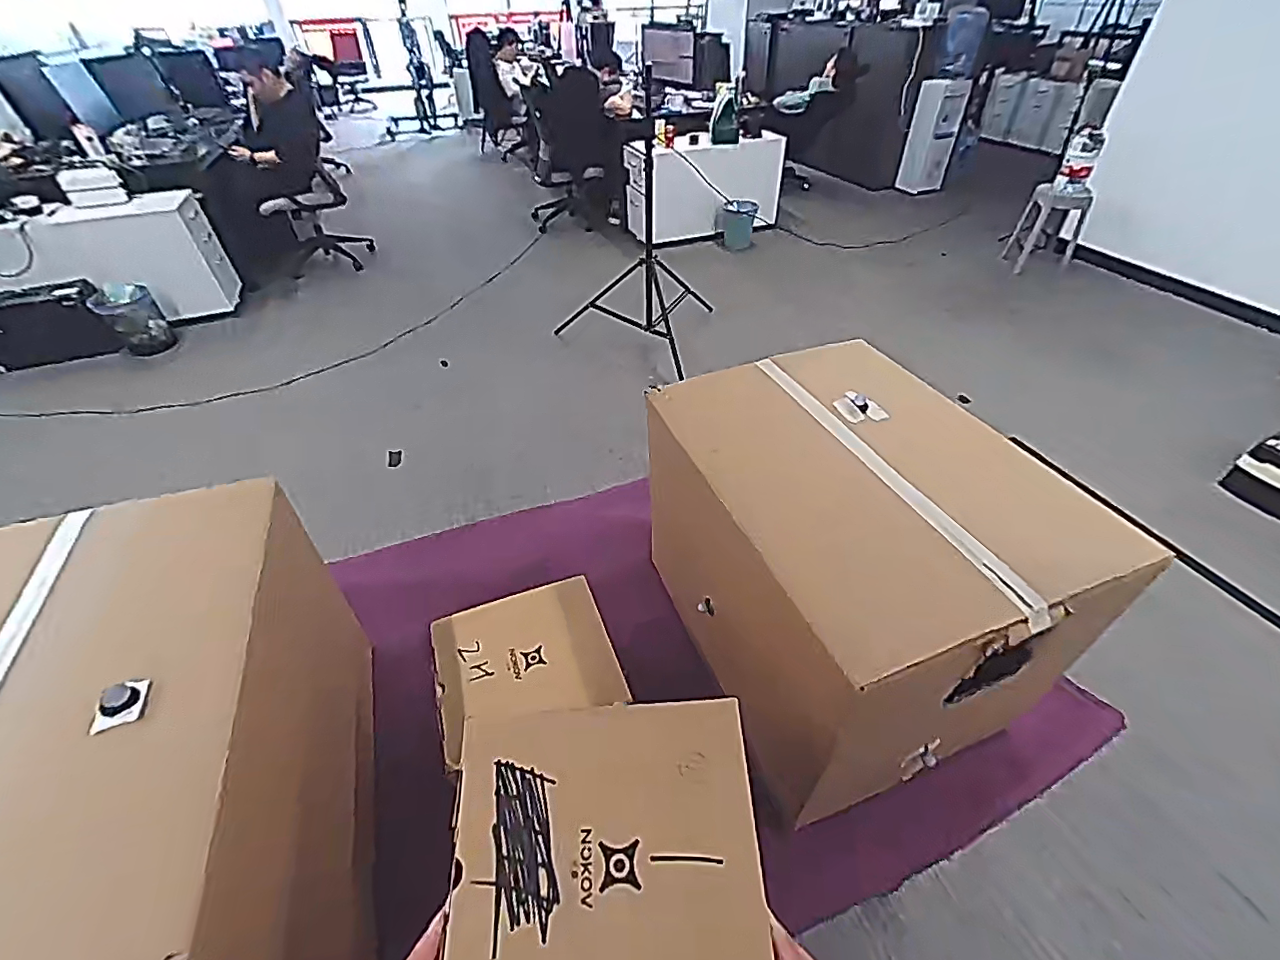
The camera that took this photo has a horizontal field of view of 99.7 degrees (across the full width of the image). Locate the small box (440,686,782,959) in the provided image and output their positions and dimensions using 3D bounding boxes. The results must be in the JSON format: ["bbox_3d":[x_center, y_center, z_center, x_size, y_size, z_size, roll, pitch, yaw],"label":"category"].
[{"bbox_3d":[-0.016,0.247,0.365,0.179,0.176,0.168,-3,57,-1],"label":"small box"}]

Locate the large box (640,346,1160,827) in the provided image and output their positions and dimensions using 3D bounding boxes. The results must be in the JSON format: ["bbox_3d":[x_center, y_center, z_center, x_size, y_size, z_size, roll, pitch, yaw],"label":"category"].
[{"bbox_3d":[0.221,0.093,0.638,0.320,0.320,0.408,-15,42,-15],"label":"large box"}]
